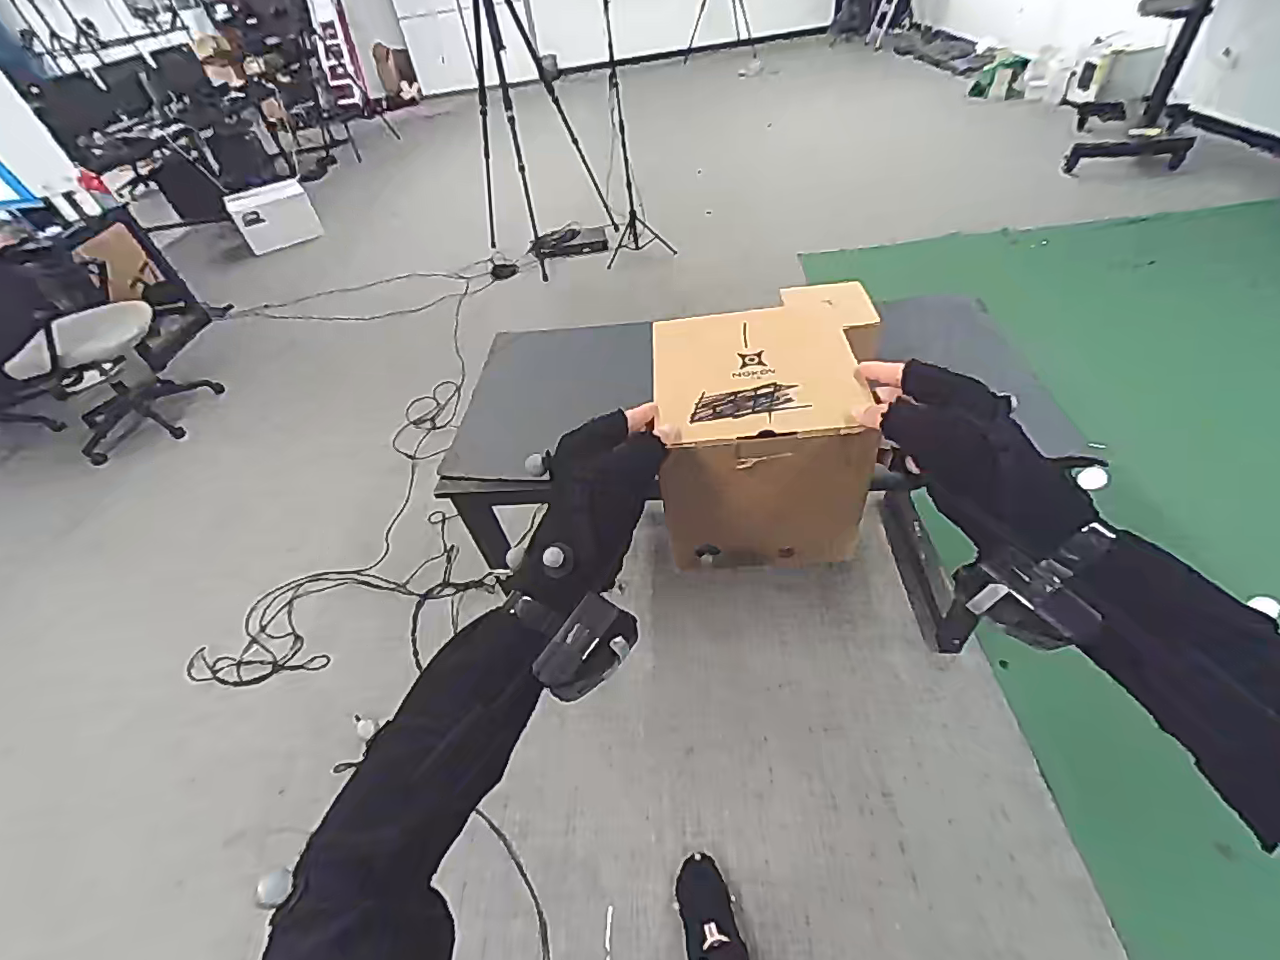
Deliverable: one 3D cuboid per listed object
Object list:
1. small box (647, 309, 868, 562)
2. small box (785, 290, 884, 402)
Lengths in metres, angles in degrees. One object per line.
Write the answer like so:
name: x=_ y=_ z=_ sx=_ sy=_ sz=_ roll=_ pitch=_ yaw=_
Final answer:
small box: x=0.100 y=-0.035 z=0.512 sx=0.168 sy=0.176 sz=0.179 roll=-5 pitch=45 yaw=7
small box: x=0.392 y=-0.275 z=1.135 sx=0.168 sy=0.176 sz=0.179 roll=-4 pitch=45 yaw=7
